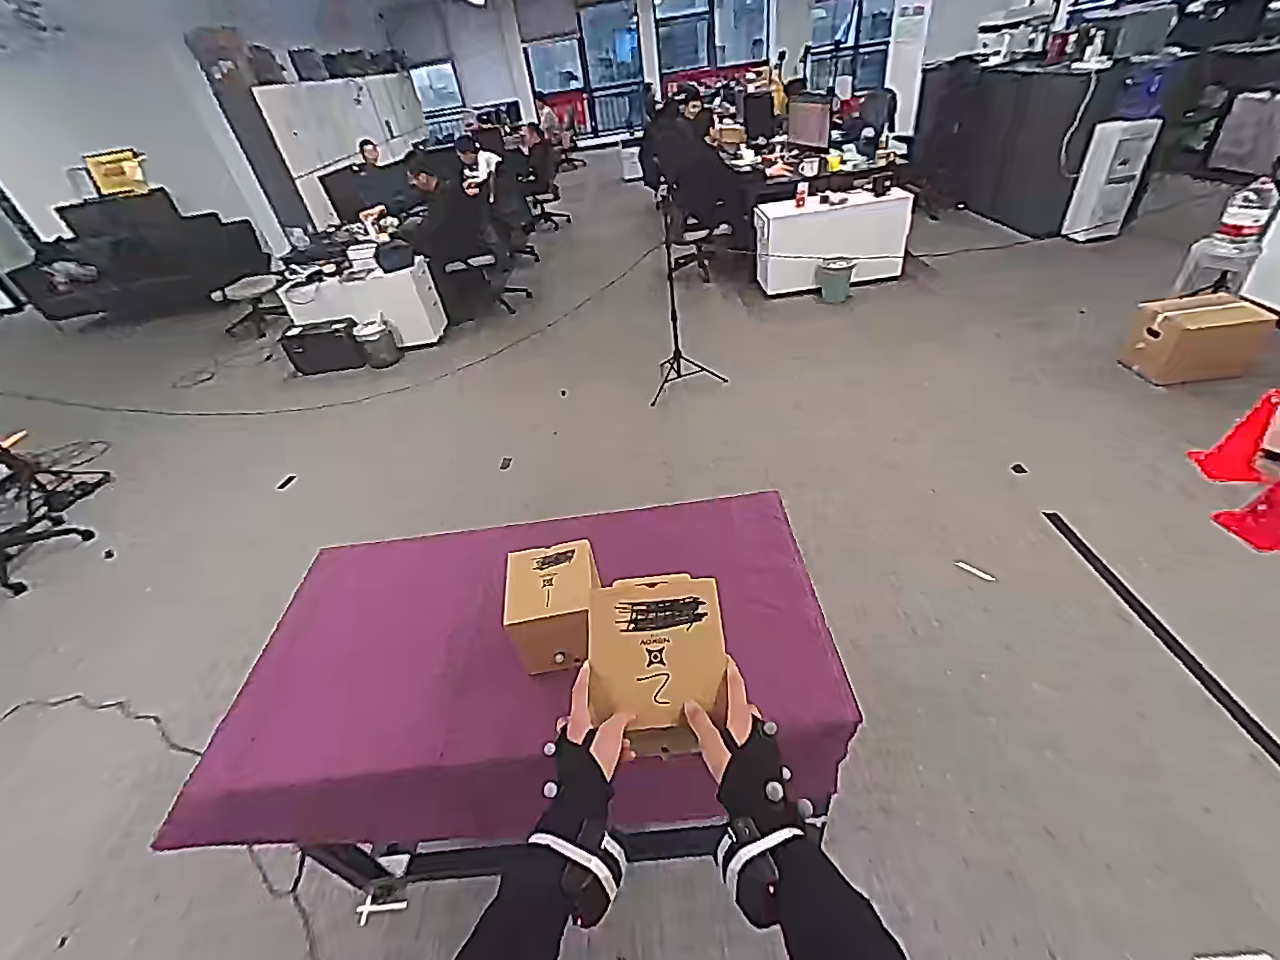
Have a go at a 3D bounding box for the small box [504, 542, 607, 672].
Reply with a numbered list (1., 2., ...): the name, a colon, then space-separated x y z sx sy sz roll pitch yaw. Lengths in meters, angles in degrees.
1. small box: -0.163 0.253 1.080 0.168 0.176 0.179 -10 39 -1
